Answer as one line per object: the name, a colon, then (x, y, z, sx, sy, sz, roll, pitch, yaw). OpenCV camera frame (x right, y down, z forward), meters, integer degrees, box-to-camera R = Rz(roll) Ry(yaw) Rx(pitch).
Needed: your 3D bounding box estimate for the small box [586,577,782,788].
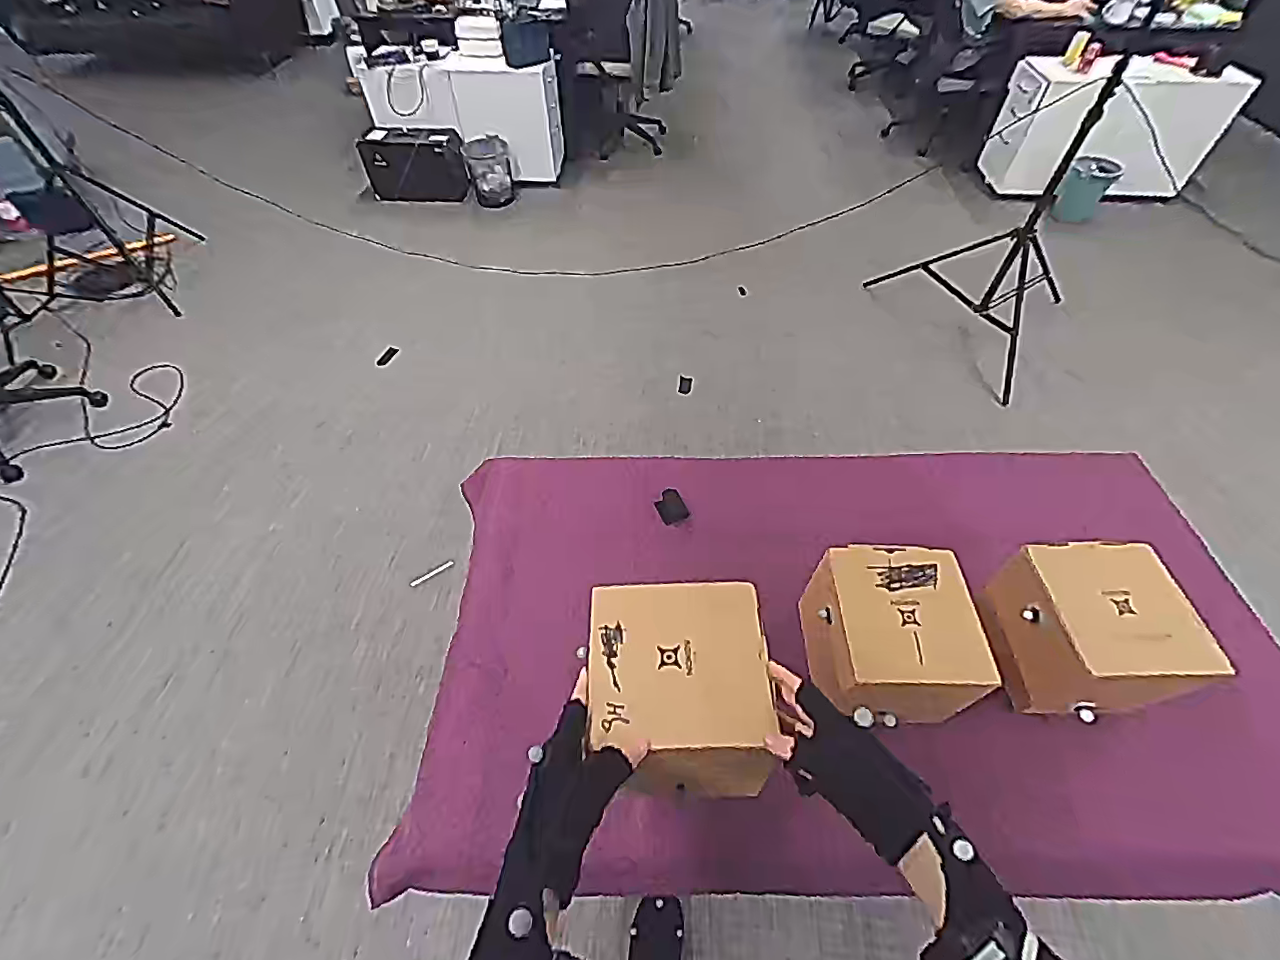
small box: (0.039, 0.220, 0.584, 0.179, 0.176, 0.168, -1, 47, 0)

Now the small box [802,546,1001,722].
small box: (0.326, 0.207, 0.721, 0.168, 0.176, 0.179, 0, 52, 1)

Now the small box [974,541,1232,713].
small box: (0.592, 0.199, 0.728, 0.168, 0.176, 0.179, -2, 52, 1)
